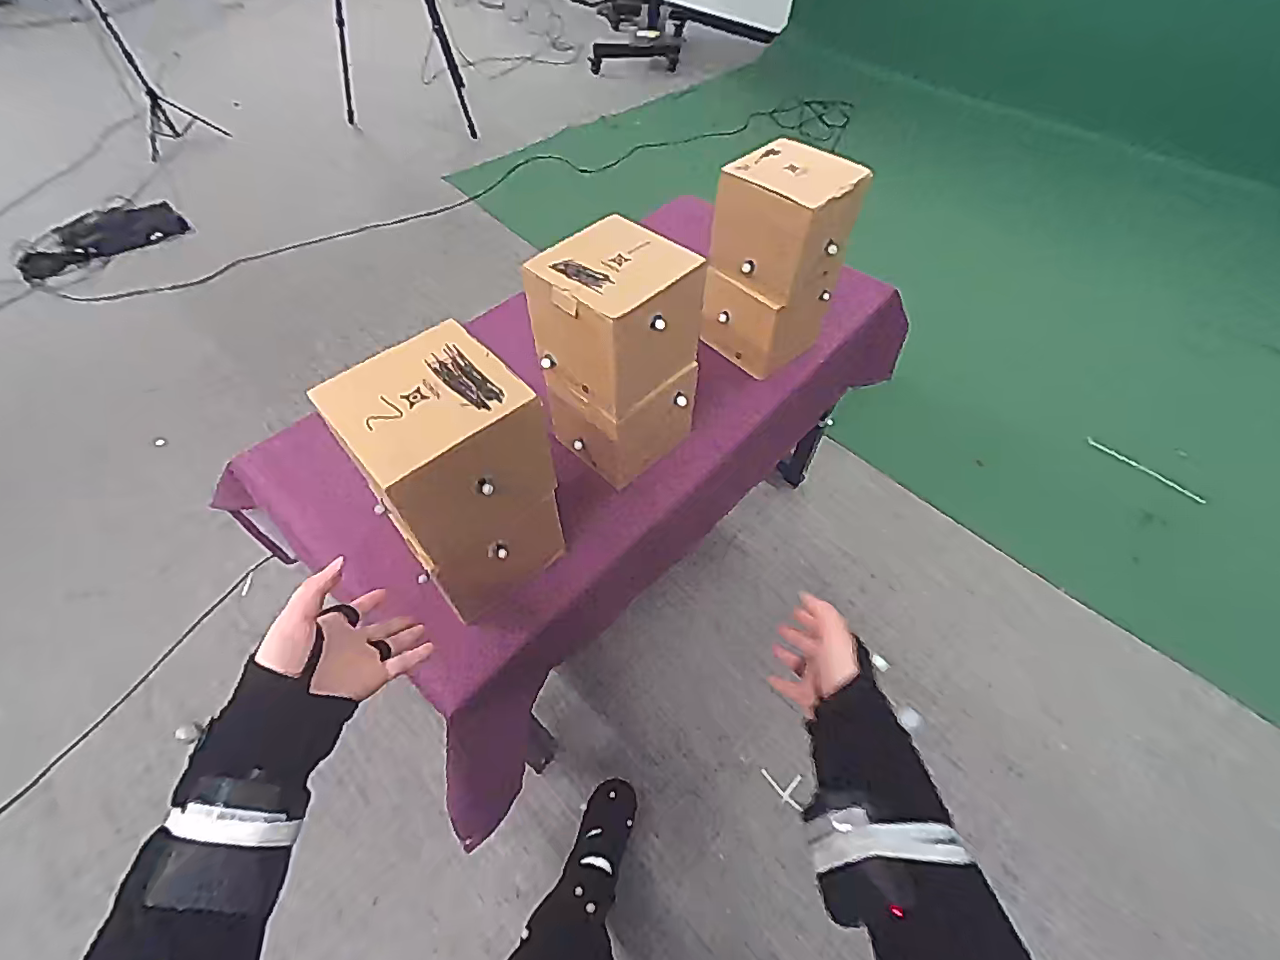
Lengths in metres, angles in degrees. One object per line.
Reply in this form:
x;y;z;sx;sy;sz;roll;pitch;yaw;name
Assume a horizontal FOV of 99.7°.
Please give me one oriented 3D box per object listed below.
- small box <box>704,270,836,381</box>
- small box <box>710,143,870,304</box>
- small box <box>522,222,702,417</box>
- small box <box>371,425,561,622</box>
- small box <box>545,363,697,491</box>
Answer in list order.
0.236;-0.320;1.031;0.179;0.176;0.168;-35;61;-23;small box
0.238;-0.419;0.900;0.168;0.176;0.179;-38;63;-25;small box
-0.034;-0.220;0.752;0.168;0.176;0.179;37;61;23;small box
-0.227;0.064;0.749;0.179;0.176;0.168;-34;61;-23;small box
-0.031;-0.119;0.882;0.179;0.176;0.168;-38;62;-25;small box
